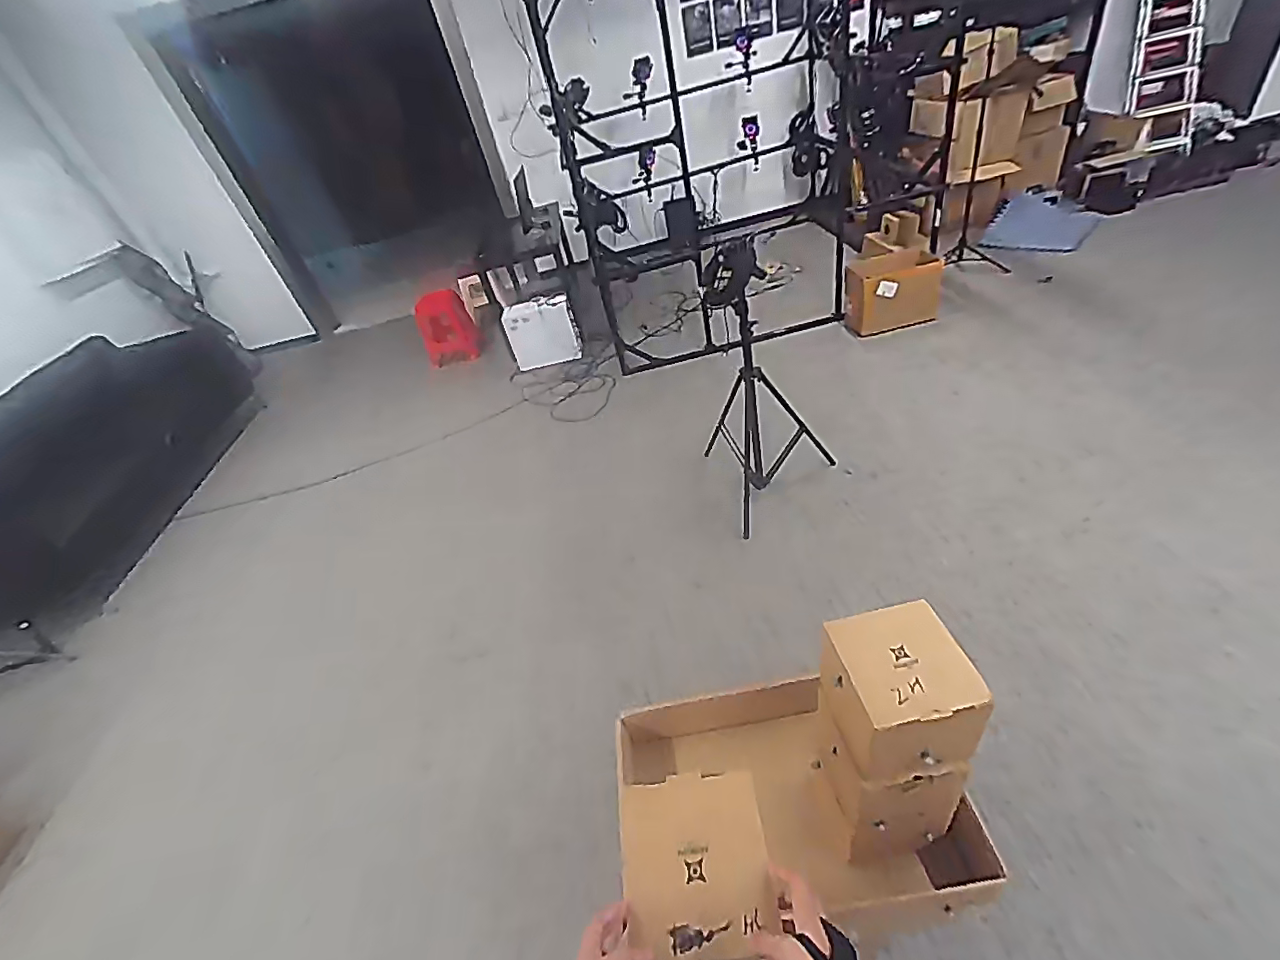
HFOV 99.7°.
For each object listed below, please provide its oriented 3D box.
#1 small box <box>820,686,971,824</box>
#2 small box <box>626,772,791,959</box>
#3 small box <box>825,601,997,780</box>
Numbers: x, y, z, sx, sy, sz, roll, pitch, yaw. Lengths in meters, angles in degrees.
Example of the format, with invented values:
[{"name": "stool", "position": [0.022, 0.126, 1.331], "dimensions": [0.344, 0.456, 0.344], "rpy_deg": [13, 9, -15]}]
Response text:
[{"name": "small box", "position": [0.415, 0.450, 0.909], "dimensions": [0.168, 0.176, 0.179], "rpy_deg": [-13, 38, 1]}, {"name": "small box", "position": [0.077, 0.489, 0.669], "dimensions": [0.168, 0.176, 0.179], "rpy_deg": [-9, 46, 2]}, {"name": "small box", "position": [0.389, 0.316, 0.816], "dimensions": [0.168, 0.176, 0.179], "rpy_deg": [-14, 39, 1]}]
